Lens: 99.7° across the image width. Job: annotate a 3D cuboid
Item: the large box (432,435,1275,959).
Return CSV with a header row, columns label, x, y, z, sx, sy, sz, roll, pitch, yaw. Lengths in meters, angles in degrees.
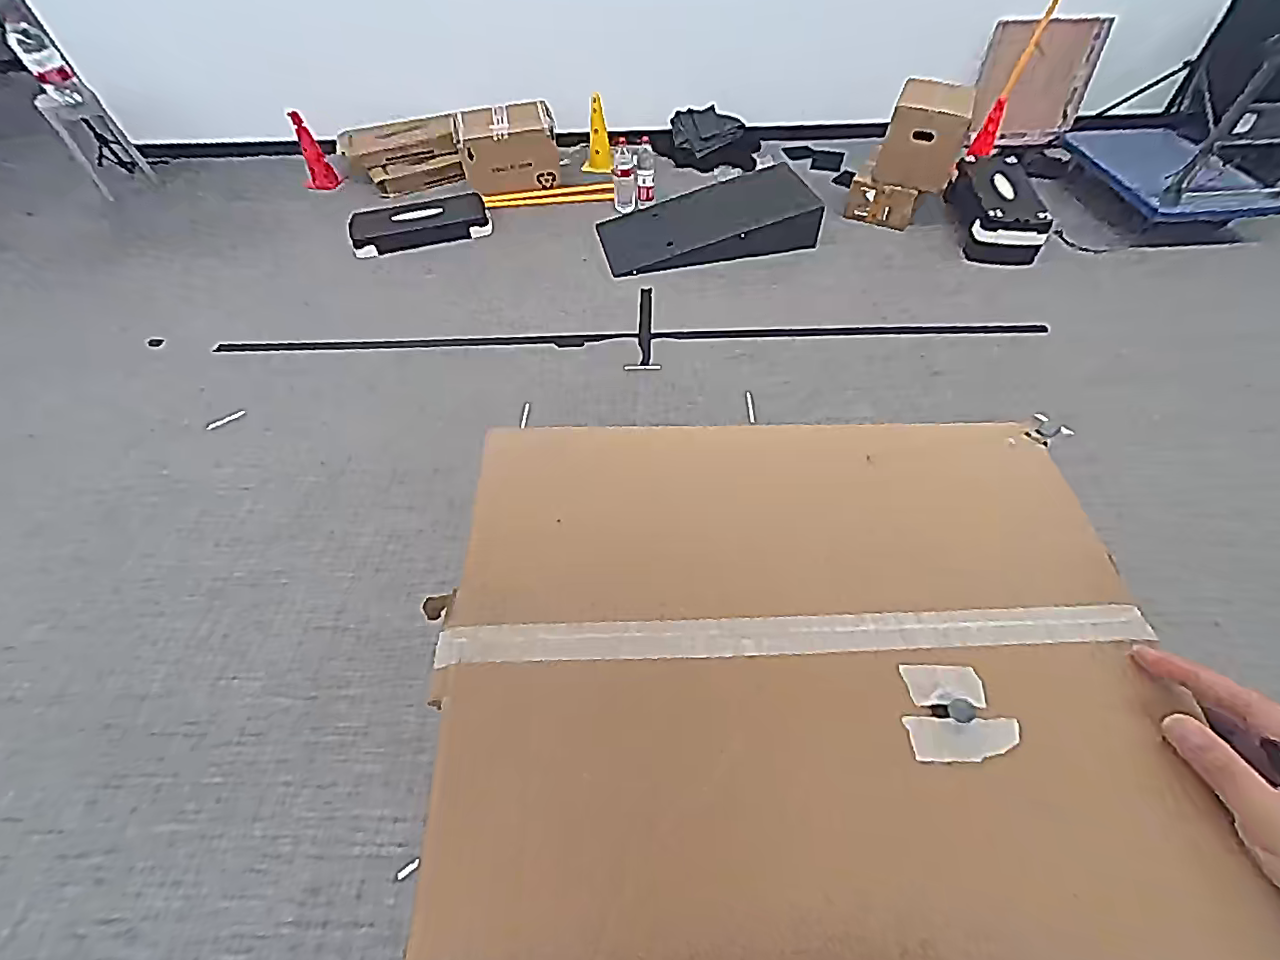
label,x,y,z,sx,sy,sz,roll,pitch,yaw
large box,0.089,0.179,0.447,0.408,0.320,0.320,-1,57,-3
